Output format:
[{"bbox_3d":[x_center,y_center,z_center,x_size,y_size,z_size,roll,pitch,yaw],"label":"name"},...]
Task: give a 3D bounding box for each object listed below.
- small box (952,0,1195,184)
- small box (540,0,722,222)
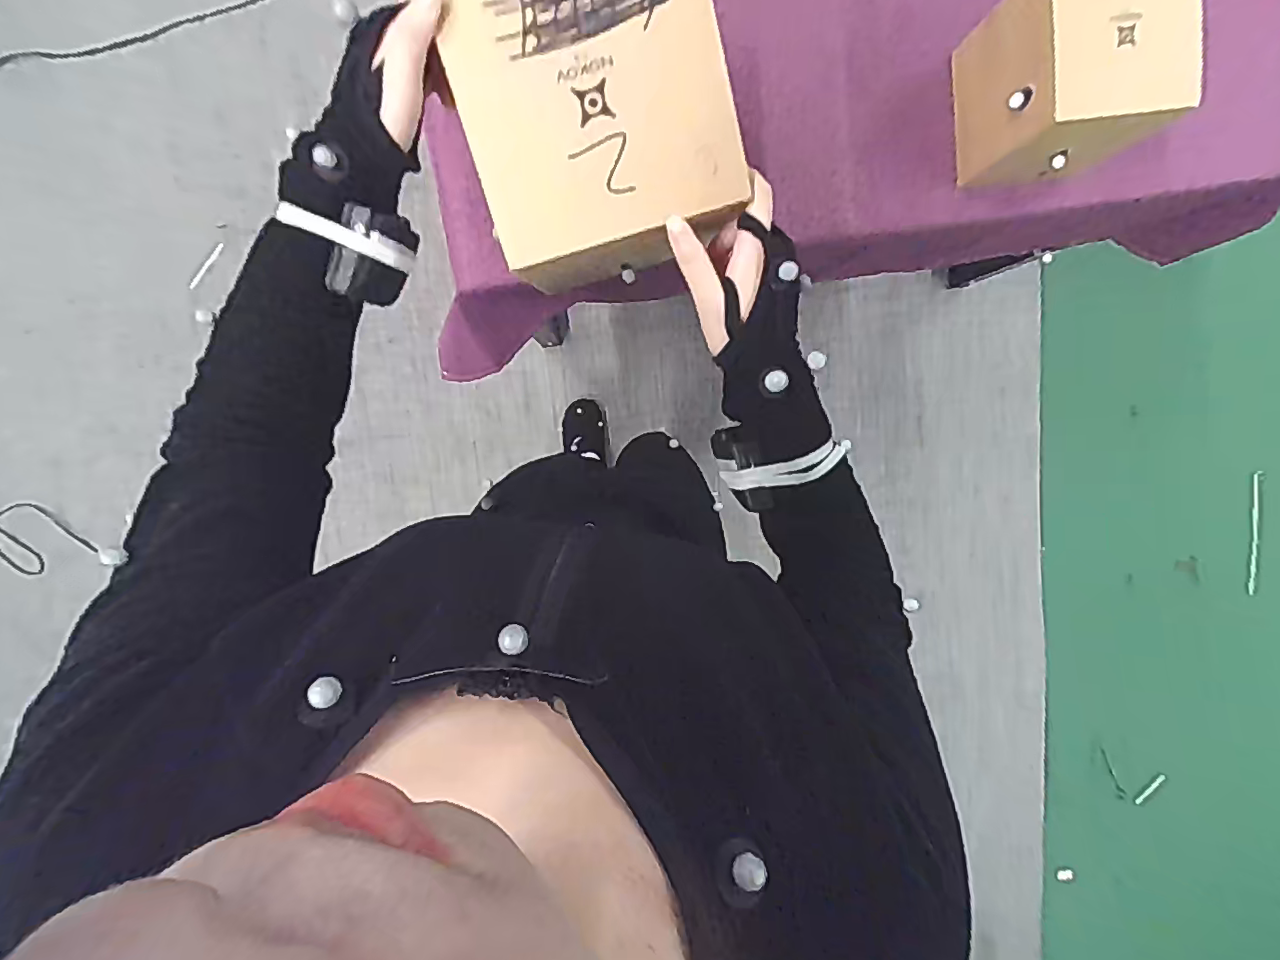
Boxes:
[{"bbox_3d":[0.509,-0.483,0.658,0.168,0.176,0.179,-6,96,-3],"label":"small box"},{"bbox_3d":[-0.011,-0.423,0.639,0.179,0.176,0.168,-7,97,-3],"label":"small box"}]
